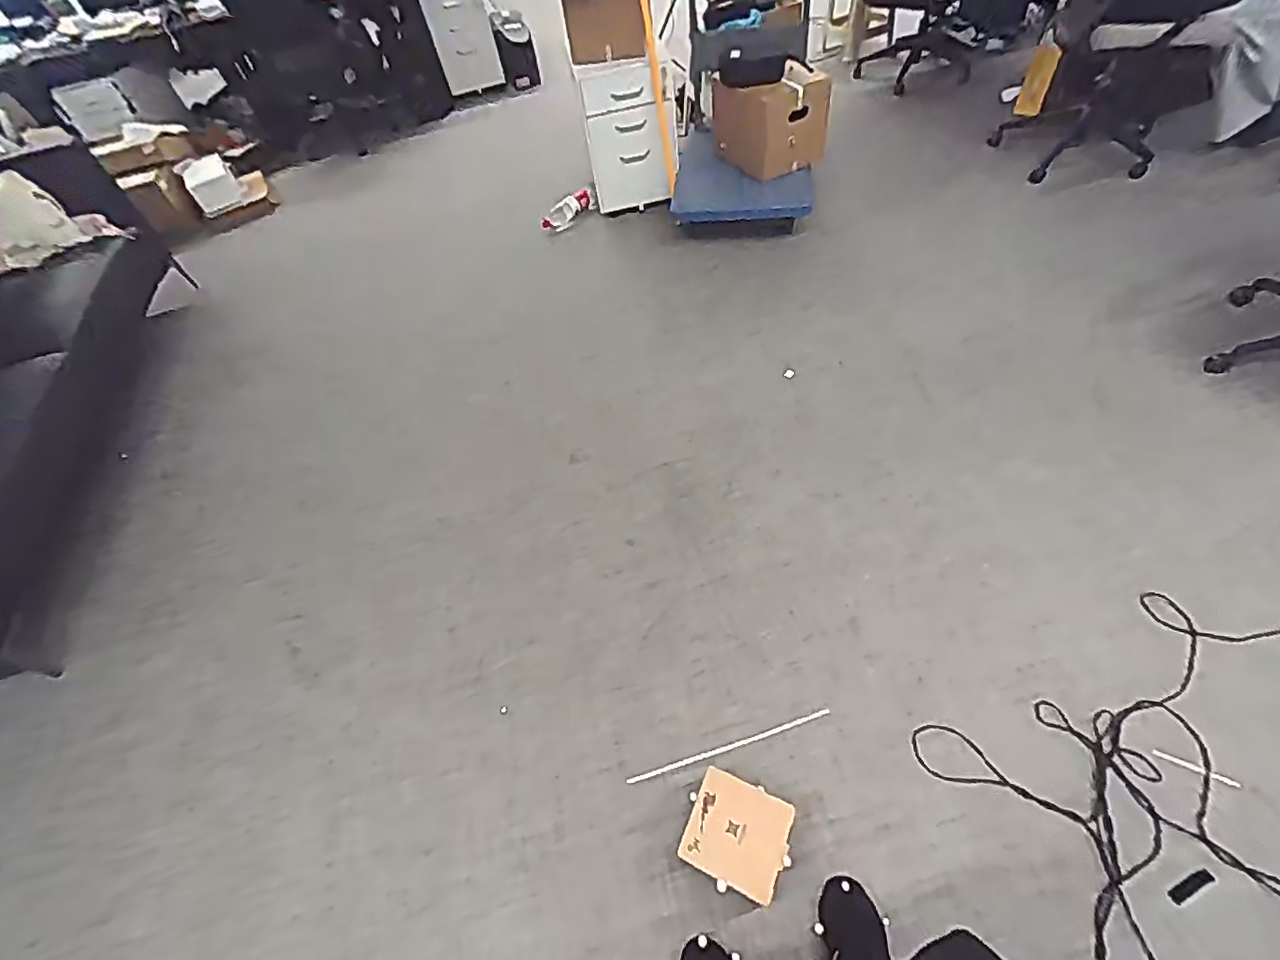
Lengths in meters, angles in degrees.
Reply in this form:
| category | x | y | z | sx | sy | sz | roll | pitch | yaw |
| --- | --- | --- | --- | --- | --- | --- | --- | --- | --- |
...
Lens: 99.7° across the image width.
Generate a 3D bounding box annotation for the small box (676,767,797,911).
| category | x | y | z | sx | sy | sz | roll | pitch | yaw |
| --- | --- | --- | --- | --- | --- | --- | --- | --- | --- |
| small box | 0.187 | 0.688 | 1.046 | 0.179 | 0.176 | 0.168 | 18 | 59 | 21 |
